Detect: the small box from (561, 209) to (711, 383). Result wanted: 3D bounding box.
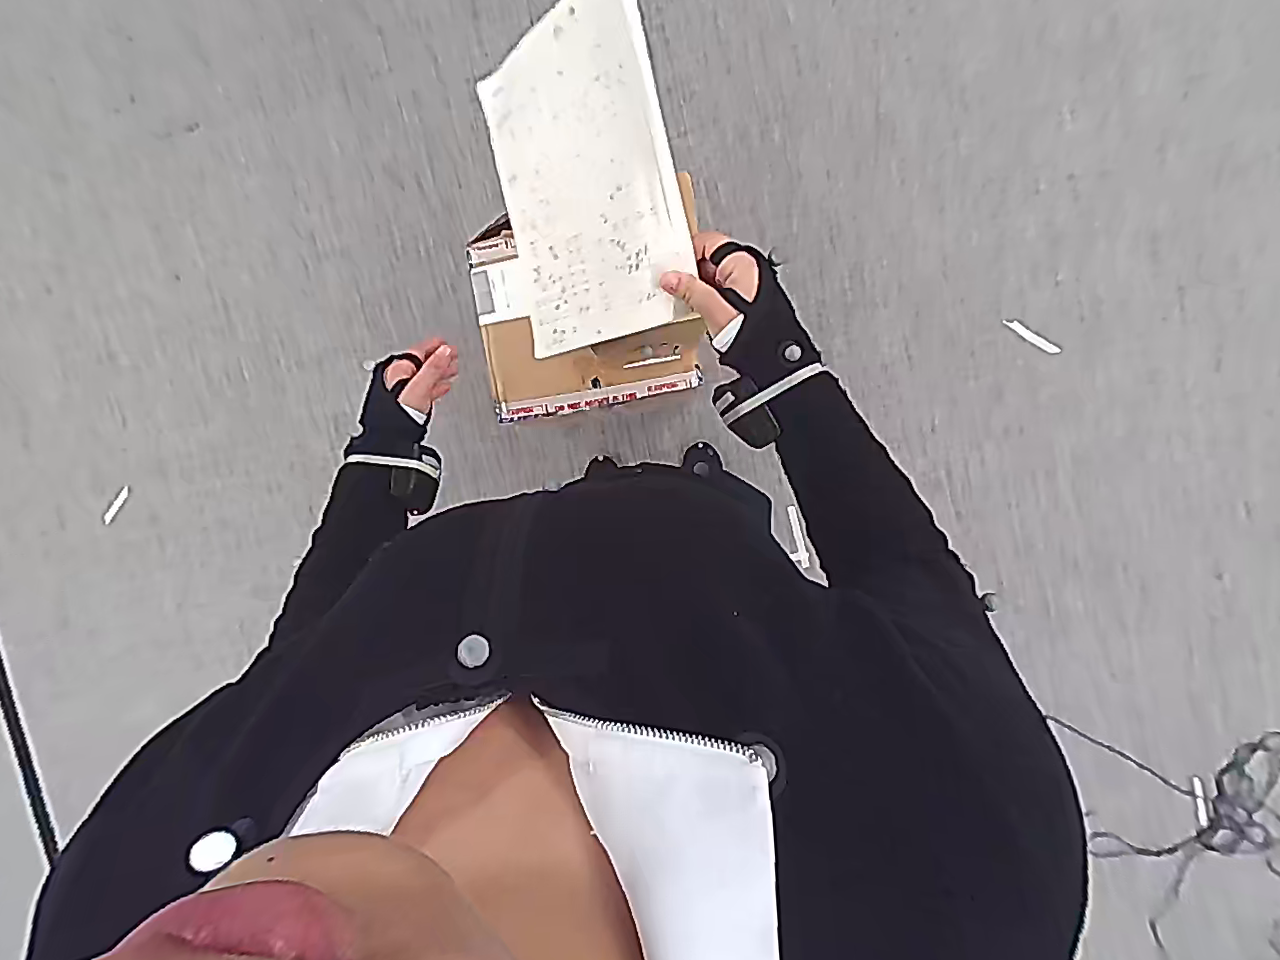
[{"bbox_3d":[-0.005,-0.242,0.753,0.168,0.176,0.179,-11,95,2],"label":"small box"}]

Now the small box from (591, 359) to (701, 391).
[{"bbox_3d":[-0.005,-0.255,0.917,0.179,0.176,0.168,-14,94,3],"label":"small box"}]
